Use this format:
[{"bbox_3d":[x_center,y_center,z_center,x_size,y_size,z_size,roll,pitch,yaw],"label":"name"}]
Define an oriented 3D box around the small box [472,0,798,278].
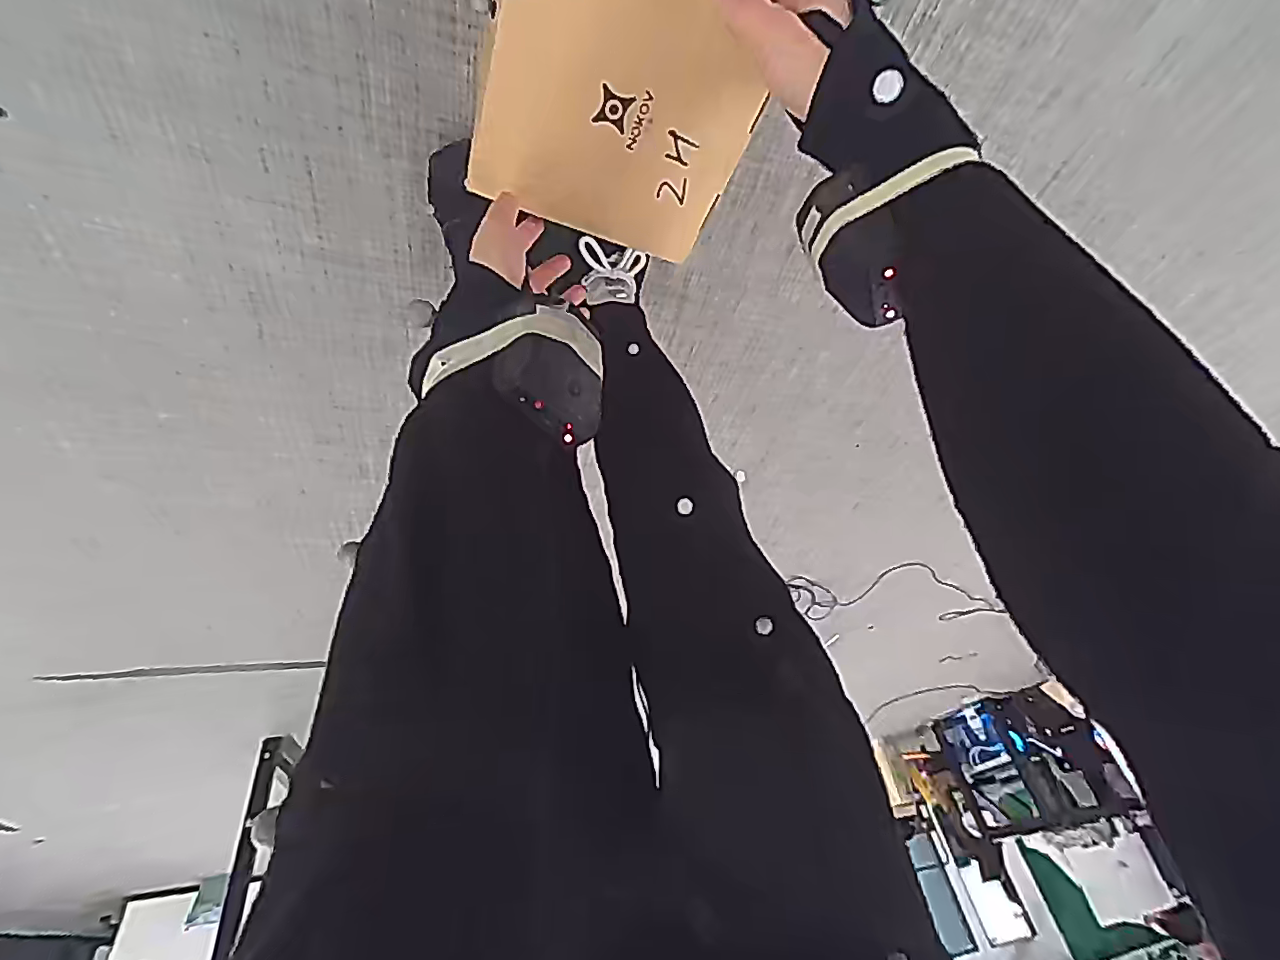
[{"bbox_3d":[-0.020,-0.292,0.411,0.179,0.176,0.168,9,138,-23],"label":"small box"}]
